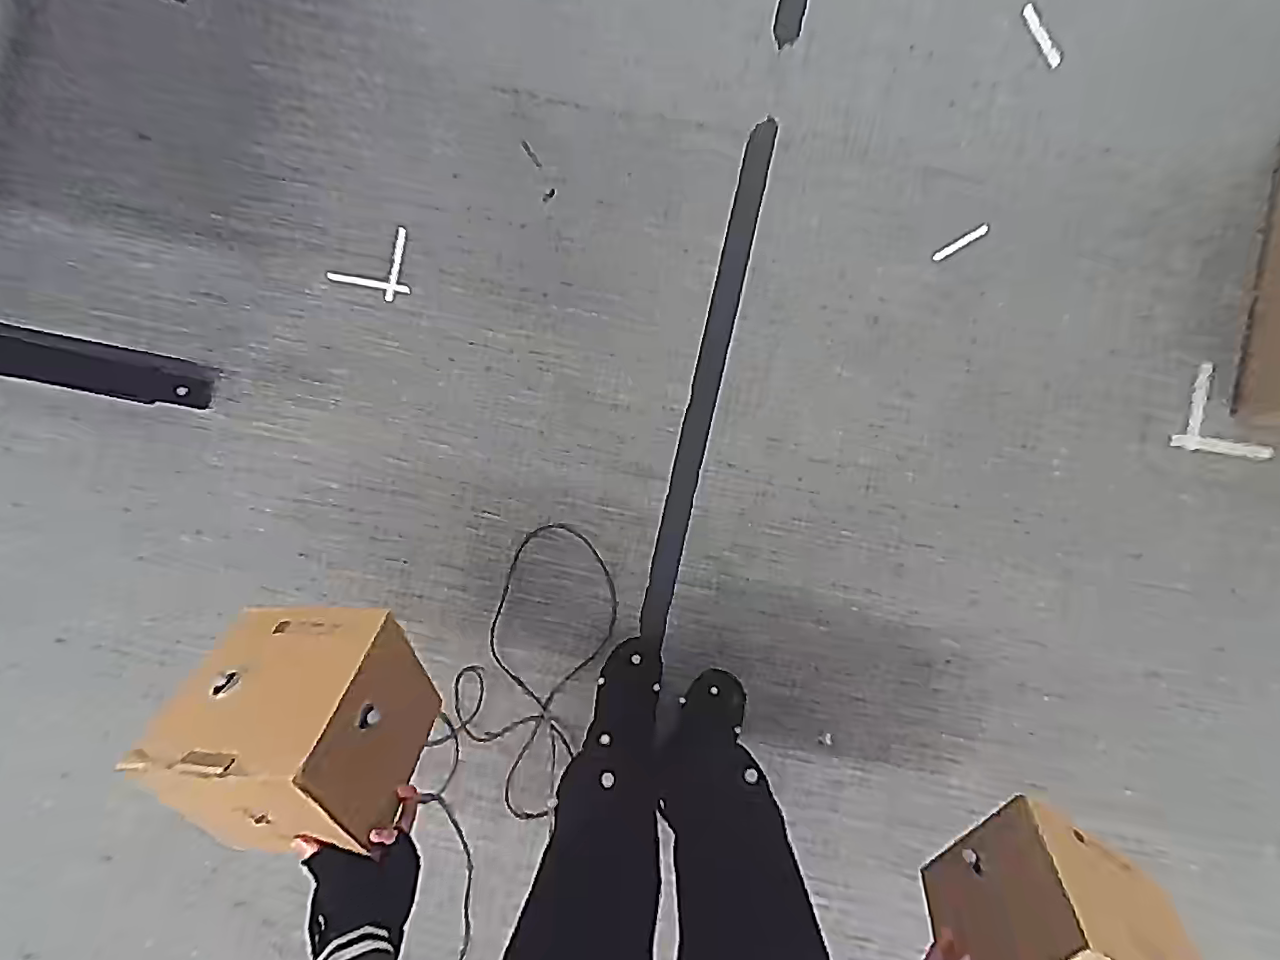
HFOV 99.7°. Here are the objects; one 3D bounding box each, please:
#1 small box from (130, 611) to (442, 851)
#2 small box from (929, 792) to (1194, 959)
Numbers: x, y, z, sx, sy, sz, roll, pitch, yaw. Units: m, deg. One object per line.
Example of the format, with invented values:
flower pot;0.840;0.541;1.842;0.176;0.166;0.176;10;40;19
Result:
small box;-0.333;0.251;0.555;0.168;0.176;0.179;-1;130;9
small box;0.431;0.479;0.561;0.168;0.176;0.179;31;113;5
